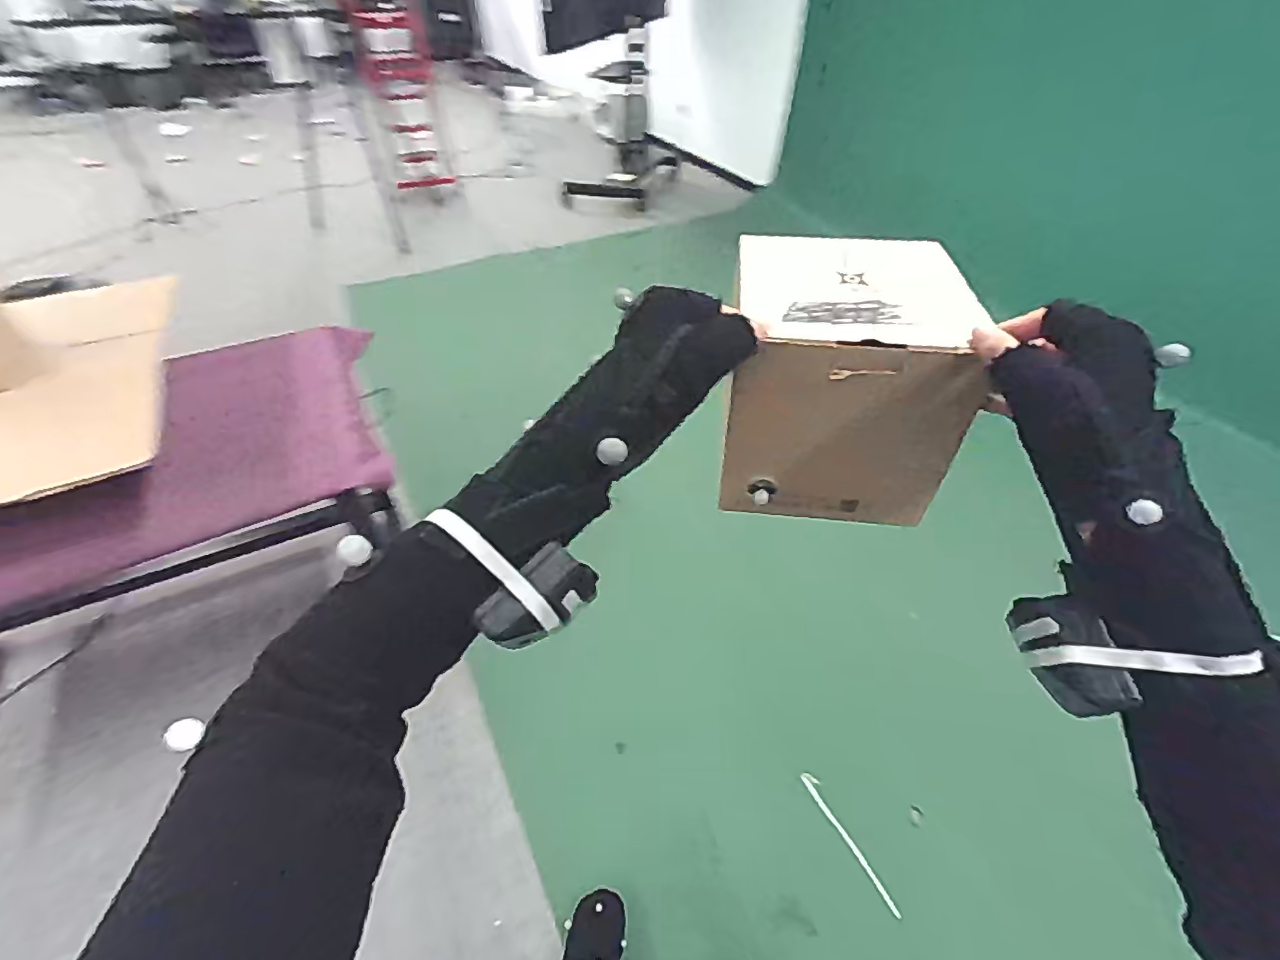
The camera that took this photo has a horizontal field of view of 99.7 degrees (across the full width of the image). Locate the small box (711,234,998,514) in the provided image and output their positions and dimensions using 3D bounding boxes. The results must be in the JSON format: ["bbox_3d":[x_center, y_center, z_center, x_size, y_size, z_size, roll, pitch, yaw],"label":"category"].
[{"bbox_3d":[0.150,-0.087,0.454,0.168,0.176,0.179,2,46,3],"label":"small box"}]

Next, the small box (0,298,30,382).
[{"bbox_3d":[-1.180,-0.253,0.886,0.168,0.176,0.179,-19,48,-18],"label":"small box"}]
